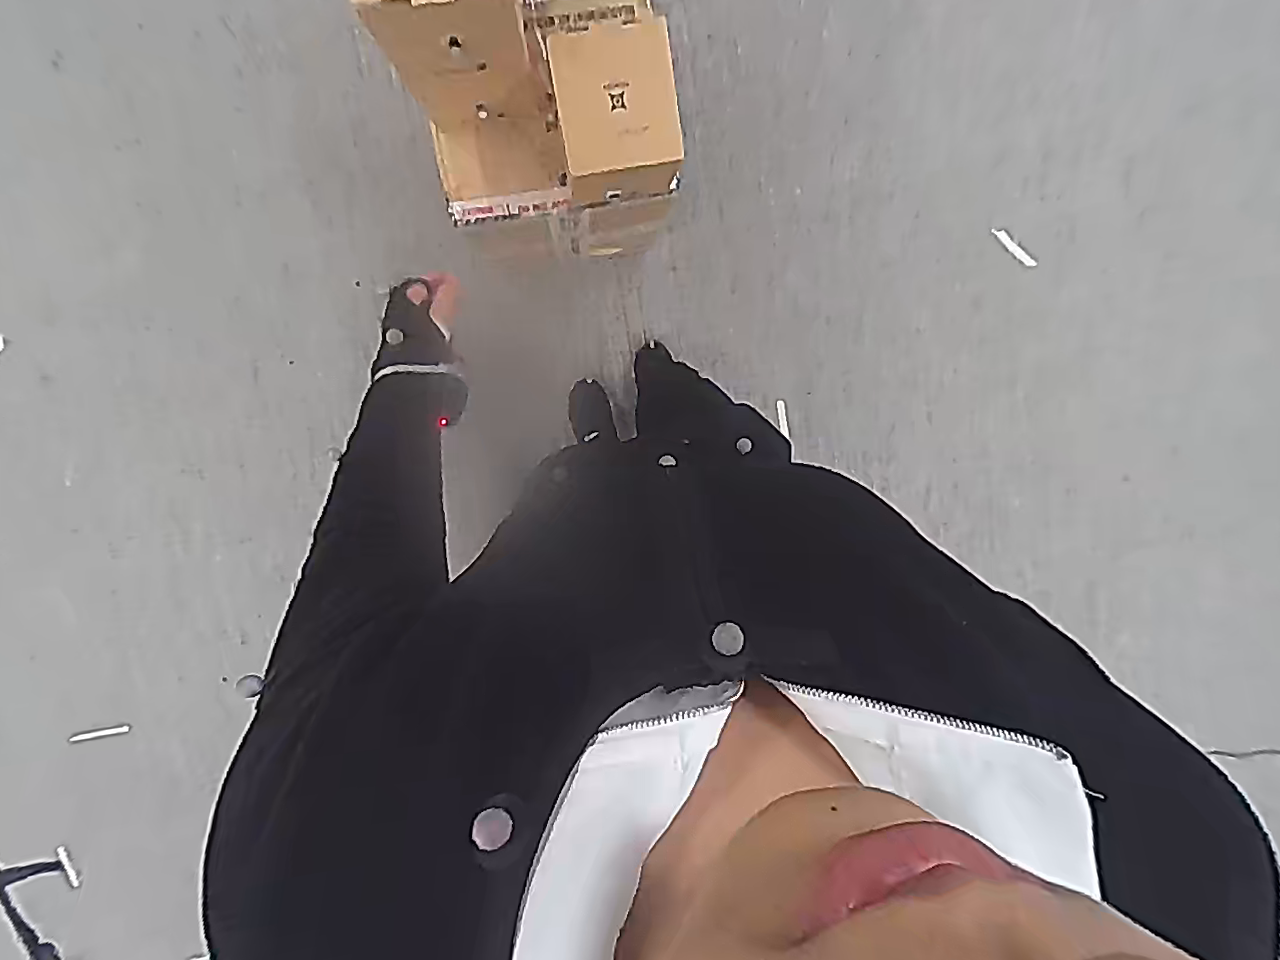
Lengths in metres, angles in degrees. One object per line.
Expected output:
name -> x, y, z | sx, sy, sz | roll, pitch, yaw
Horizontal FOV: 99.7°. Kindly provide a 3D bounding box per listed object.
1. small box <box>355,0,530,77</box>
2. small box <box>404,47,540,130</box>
small box -> -0.229, -0.593, 0.613 | 0.168, 0.176, 0.179 | -10, 105, -2
small box -> -0.247, -0.639, 0.770 | 0.168, 0.176, 0.179 | -11, 104, -1
